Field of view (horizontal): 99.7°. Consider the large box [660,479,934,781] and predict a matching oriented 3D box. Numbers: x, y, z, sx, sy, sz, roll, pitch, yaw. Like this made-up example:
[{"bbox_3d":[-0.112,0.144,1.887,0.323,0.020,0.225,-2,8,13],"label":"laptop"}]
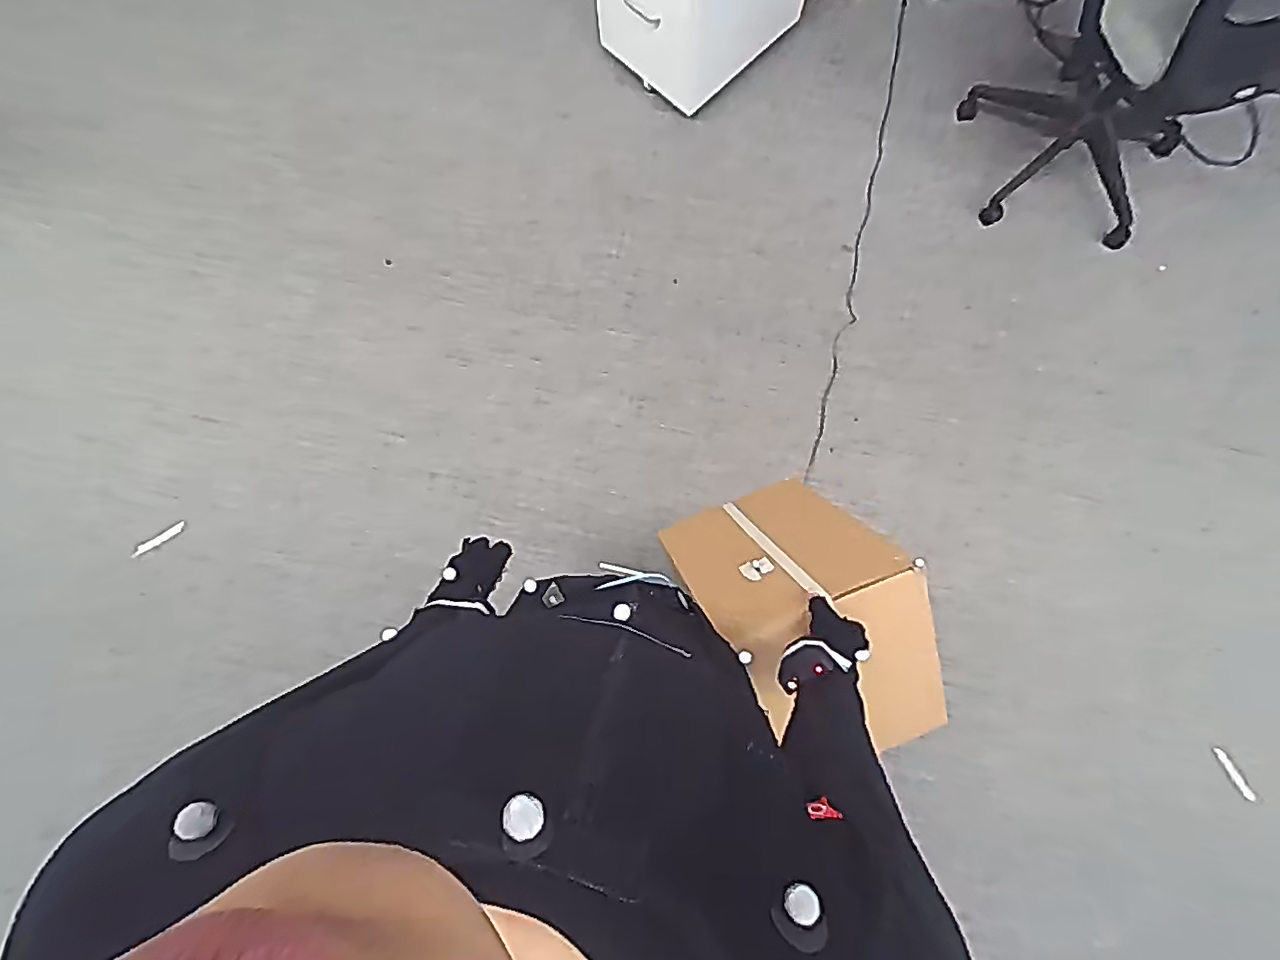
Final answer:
[{"bbox_3d":[0.266,0.242,1.004,0.320,0.408,0.320,-21,112,-4],"label":"large box"}]
